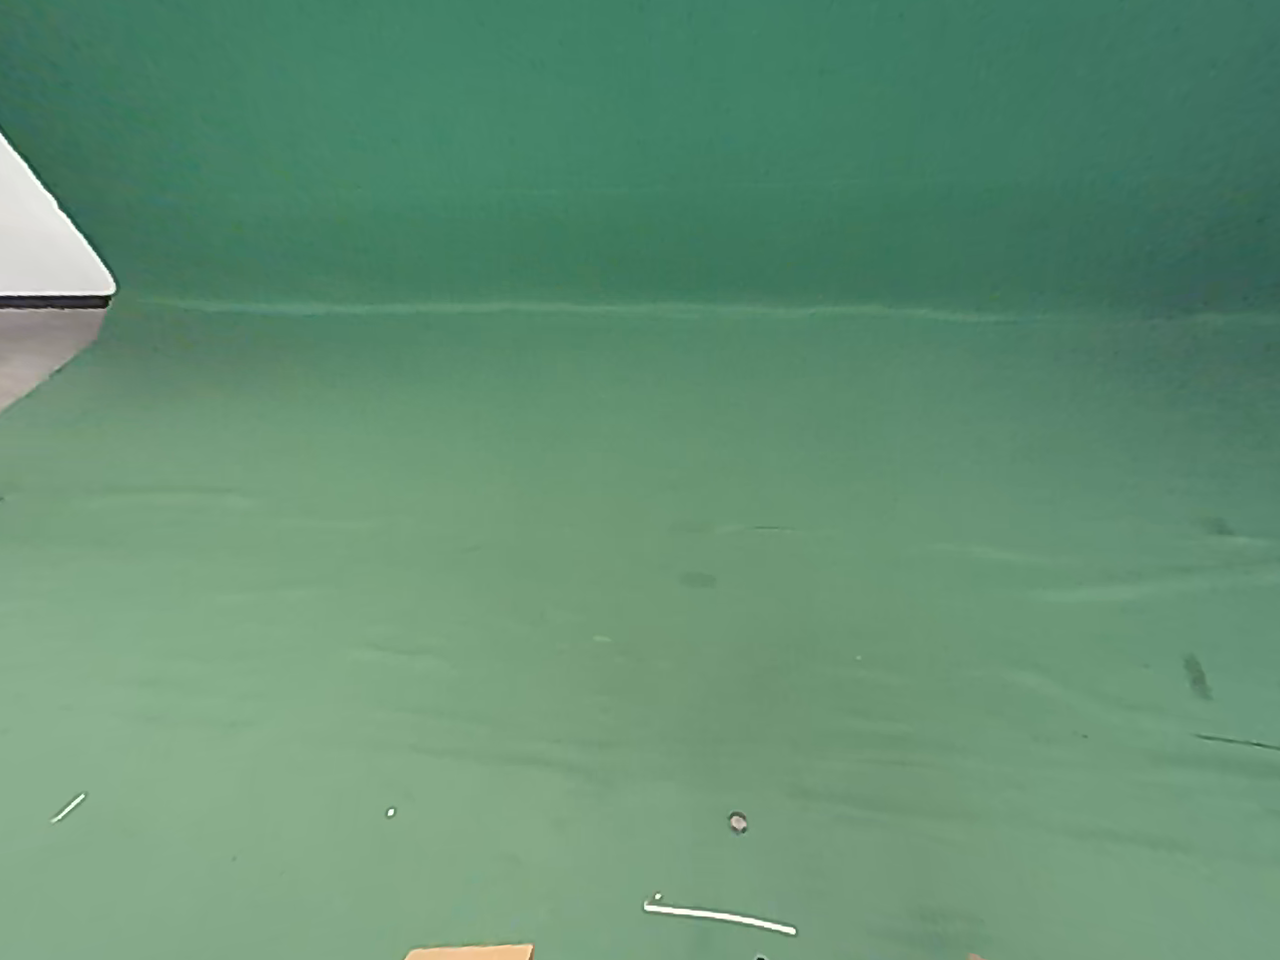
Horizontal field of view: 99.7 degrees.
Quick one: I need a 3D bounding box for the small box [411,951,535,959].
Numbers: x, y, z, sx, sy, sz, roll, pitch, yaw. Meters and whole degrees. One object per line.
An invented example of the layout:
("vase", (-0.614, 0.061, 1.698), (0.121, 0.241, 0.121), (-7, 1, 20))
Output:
("small box", (-0.220, 0.692, 0.618), (0.168, 0.179, 0.176), (-4, 81, 2))
